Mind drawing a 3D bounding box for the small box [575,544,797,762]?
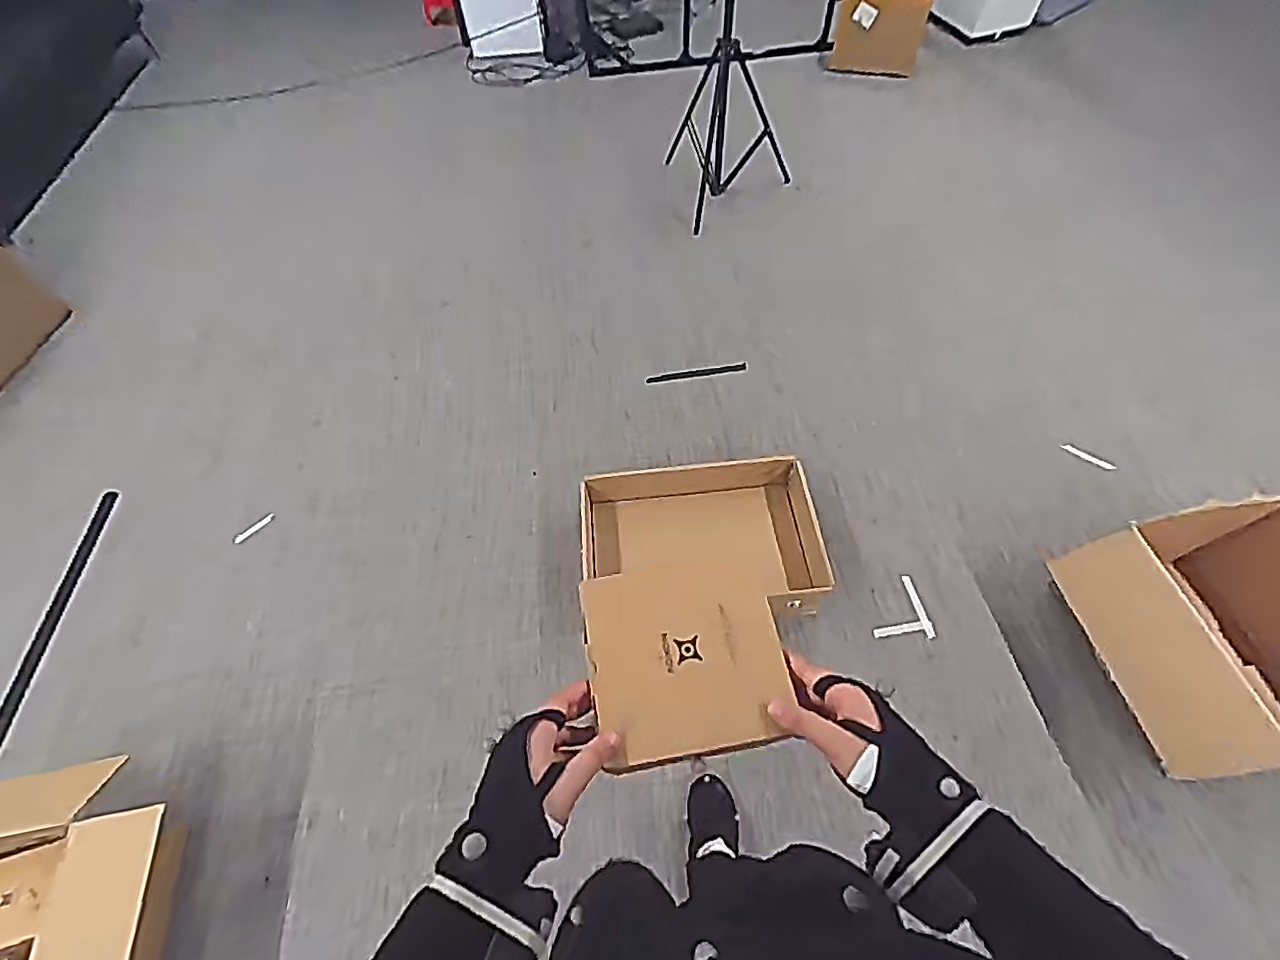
[{"bbox_3d":[0.038,0.186,0.561,0.179,0.176,0.168,-10,62,-5],"label":"small box"}]
